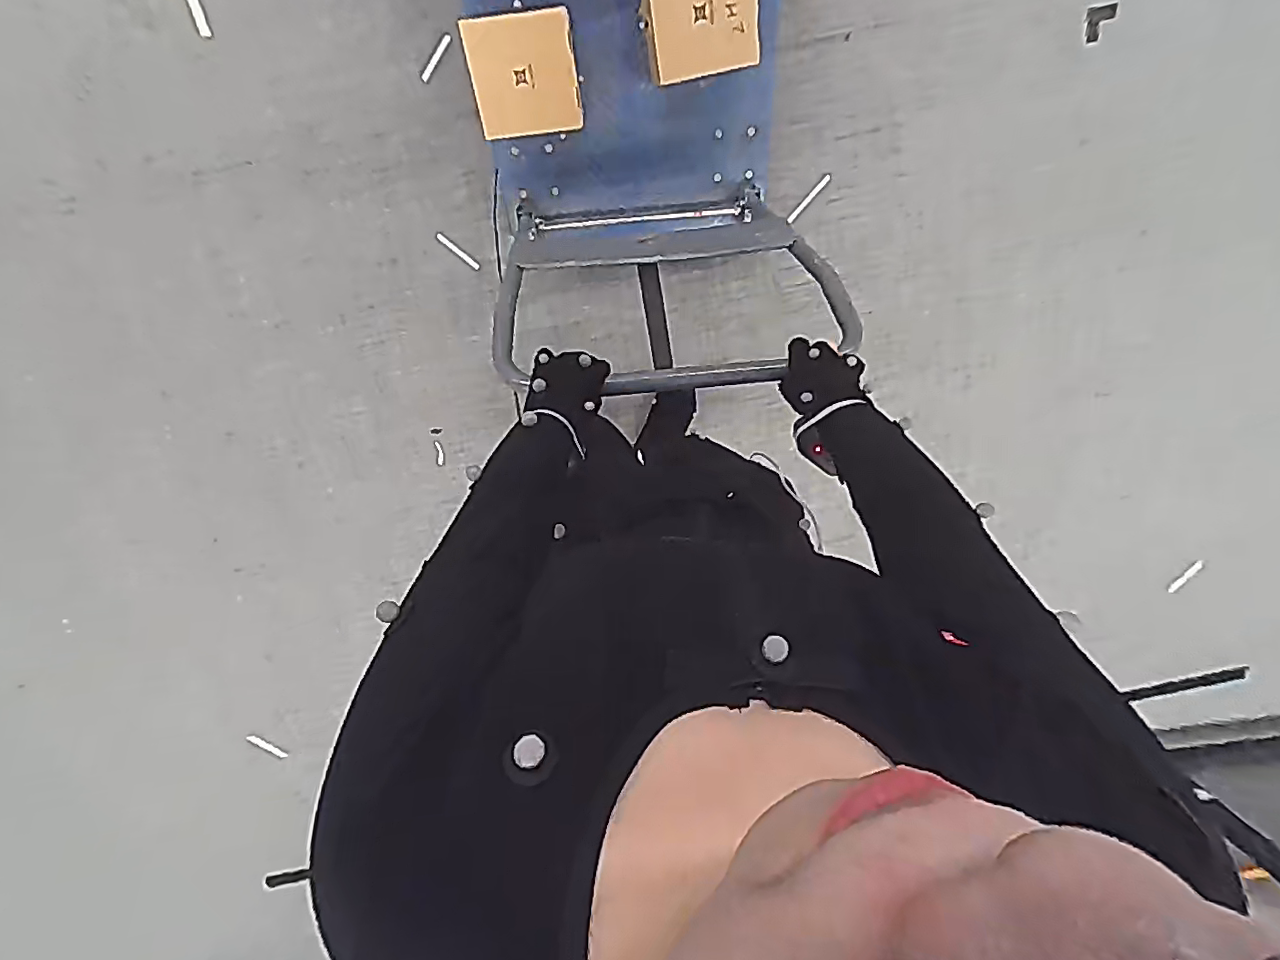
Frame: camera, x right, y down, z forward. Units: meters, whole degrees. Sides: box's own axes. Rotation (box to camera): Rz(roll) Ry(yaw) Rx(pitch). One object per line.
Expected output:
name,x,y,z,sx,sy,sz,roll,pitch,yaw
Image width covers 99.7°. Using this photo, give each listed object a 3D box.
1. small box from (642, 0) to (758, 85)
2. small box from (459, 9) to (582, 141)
small box,0.098,-0.801,0.938,0.179,0.176,0.168,-11,127,3
small box,-0.202,-0.721,0.972,0.179,0.176,0.168,-9,127,-1
